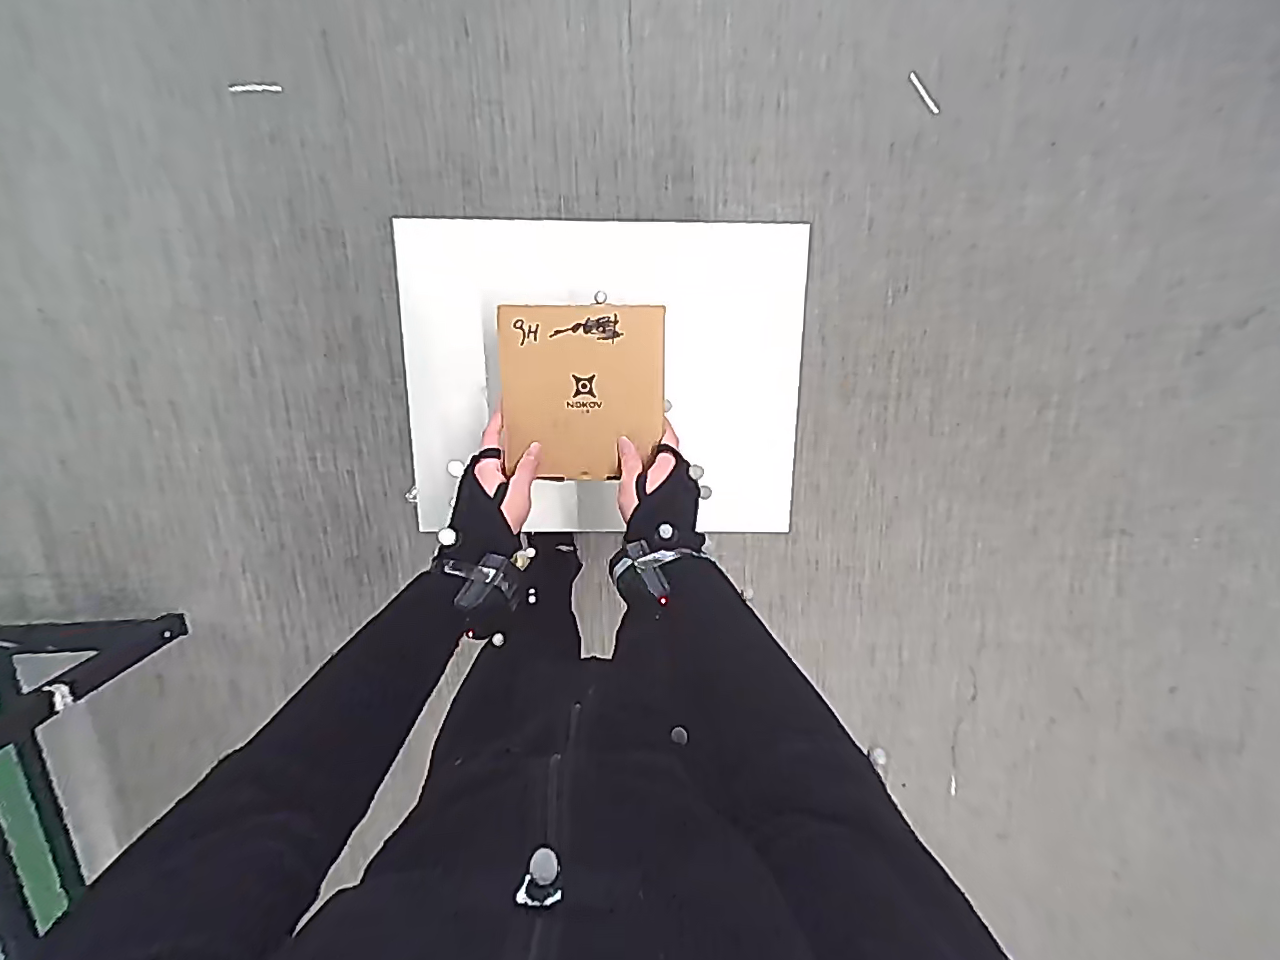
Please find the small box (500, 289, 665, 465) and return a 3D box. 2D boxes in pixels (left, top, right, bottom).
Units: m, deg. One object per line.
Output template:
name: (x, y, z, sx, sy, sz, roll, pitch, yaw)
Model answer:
small box: (-0.055, -0.120, 0.631, 0.168, 0.176, 0.179, -2, 102, 0)
